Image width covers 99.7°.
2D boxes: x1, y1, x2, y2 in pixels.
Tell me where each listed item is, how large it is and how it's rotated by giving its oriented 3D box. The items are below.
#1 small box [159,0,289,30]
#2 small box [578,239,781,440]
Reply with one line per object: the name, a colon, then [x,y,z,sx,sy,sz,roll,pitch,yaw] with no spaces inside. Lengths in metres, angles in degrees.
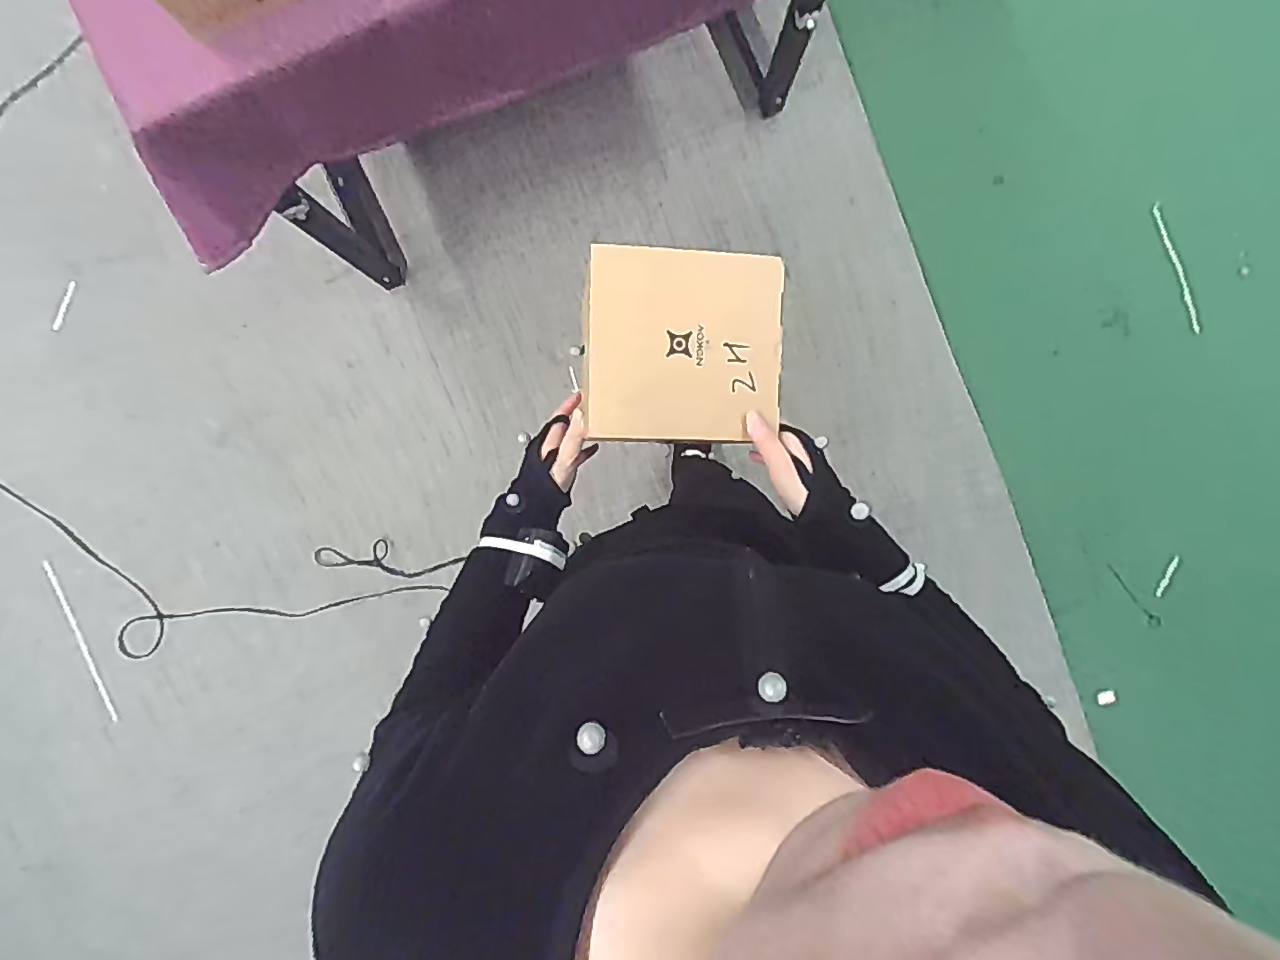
small box: [-0.559,-0.699,0.651,0.168,0.176,0.179,-26,91,-1]
small box: [0.027,-0.127,0.554,0.179,0.176,0.168,1,94,-9]
